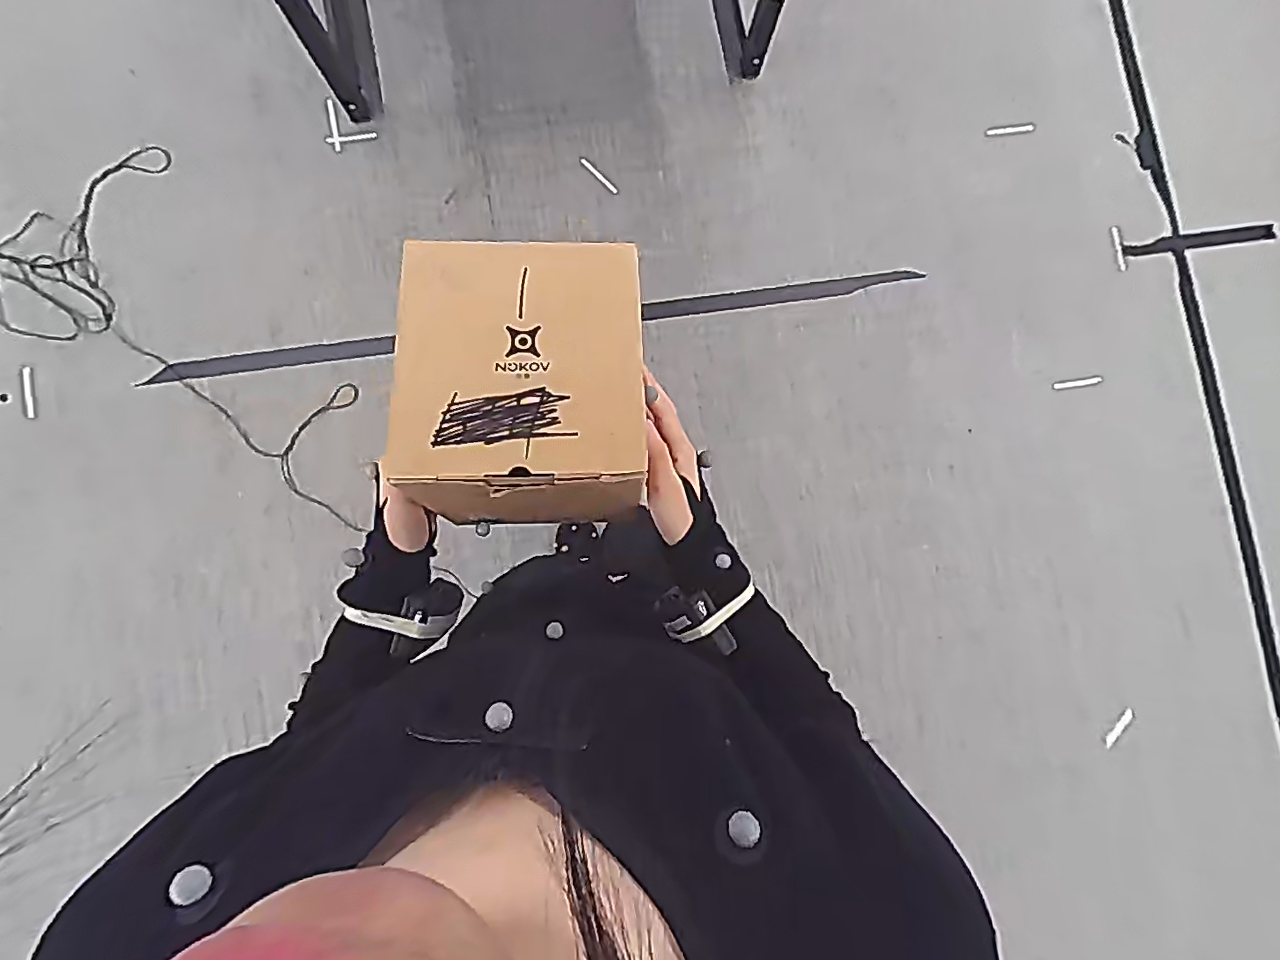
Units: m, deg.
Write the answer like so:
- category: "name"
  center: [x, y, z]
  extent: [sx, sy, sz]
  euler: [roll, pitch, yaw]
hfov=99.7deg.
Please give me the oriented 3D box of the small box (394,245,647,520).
- category: "small box"
  center: [-0.082, -0.064, 0.443]
  extent: [0.168, 0.176, 0.179]
  euler: [-1, 74, -5]

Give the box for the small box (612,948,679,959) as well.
- category: "small box"
  center: [0.013, 1.082, 1.069]
  extent: [0.179, 0.176, 0.168]
  euler: [-10, 86, -4]
